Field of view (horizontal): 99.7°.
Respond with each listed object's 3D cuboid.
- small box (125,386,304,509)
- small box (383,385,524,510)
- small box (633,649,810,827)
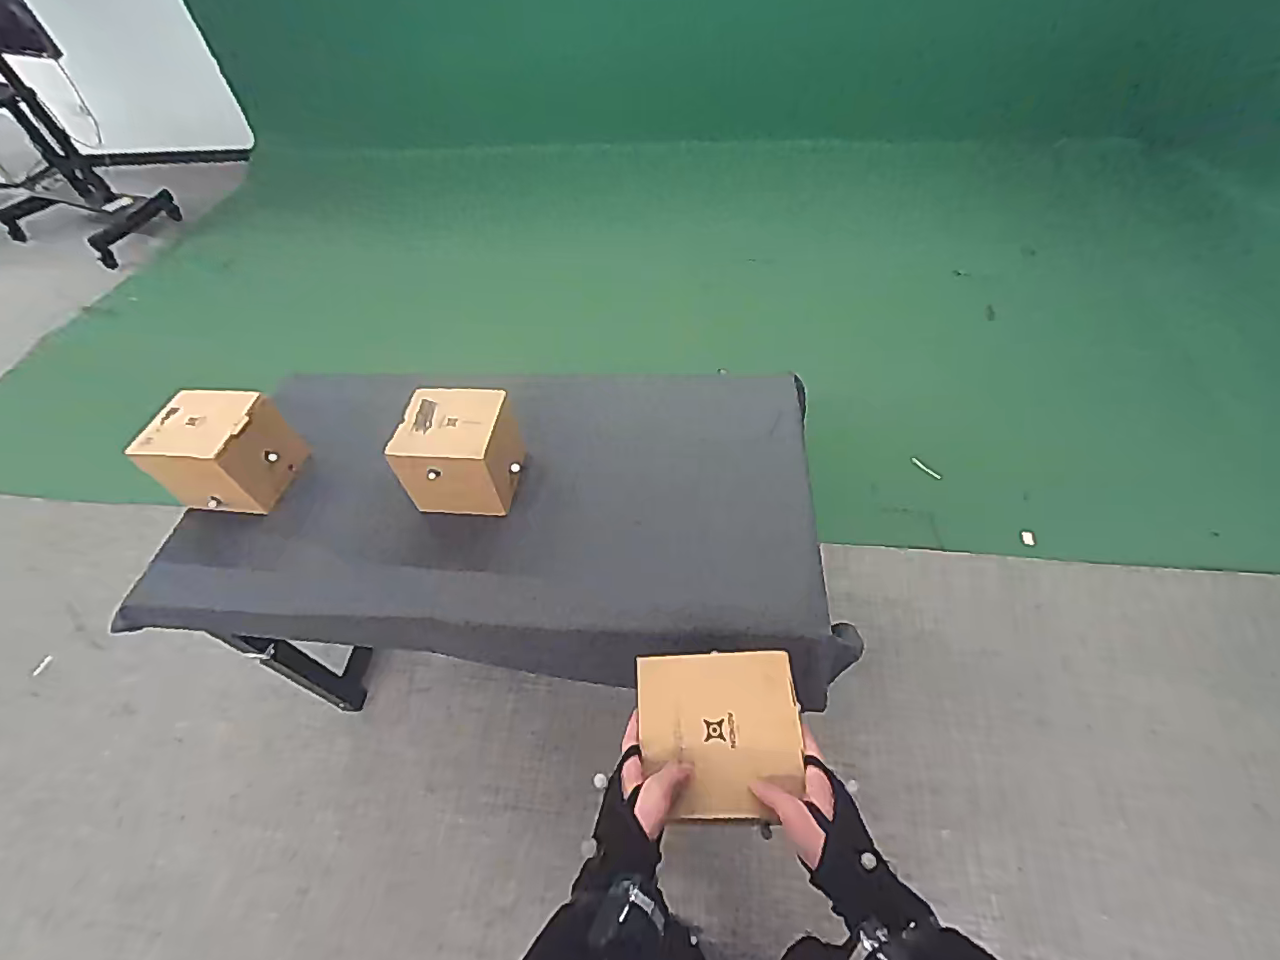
[{"bbox_3d":[-0.798,-0.059,1.042,0.179,0.176,0.168,4,52,6],"label":"small box"},{"bbox_3d":[-0.332,-0.057,1.004,0.179,0.176,0.168,3,53,6],"label":"small box"},{"bbox_3d":[0.089,0.311,0.643,0.179,0.176,0.168,-6,54,6],"label":"small box"}]
